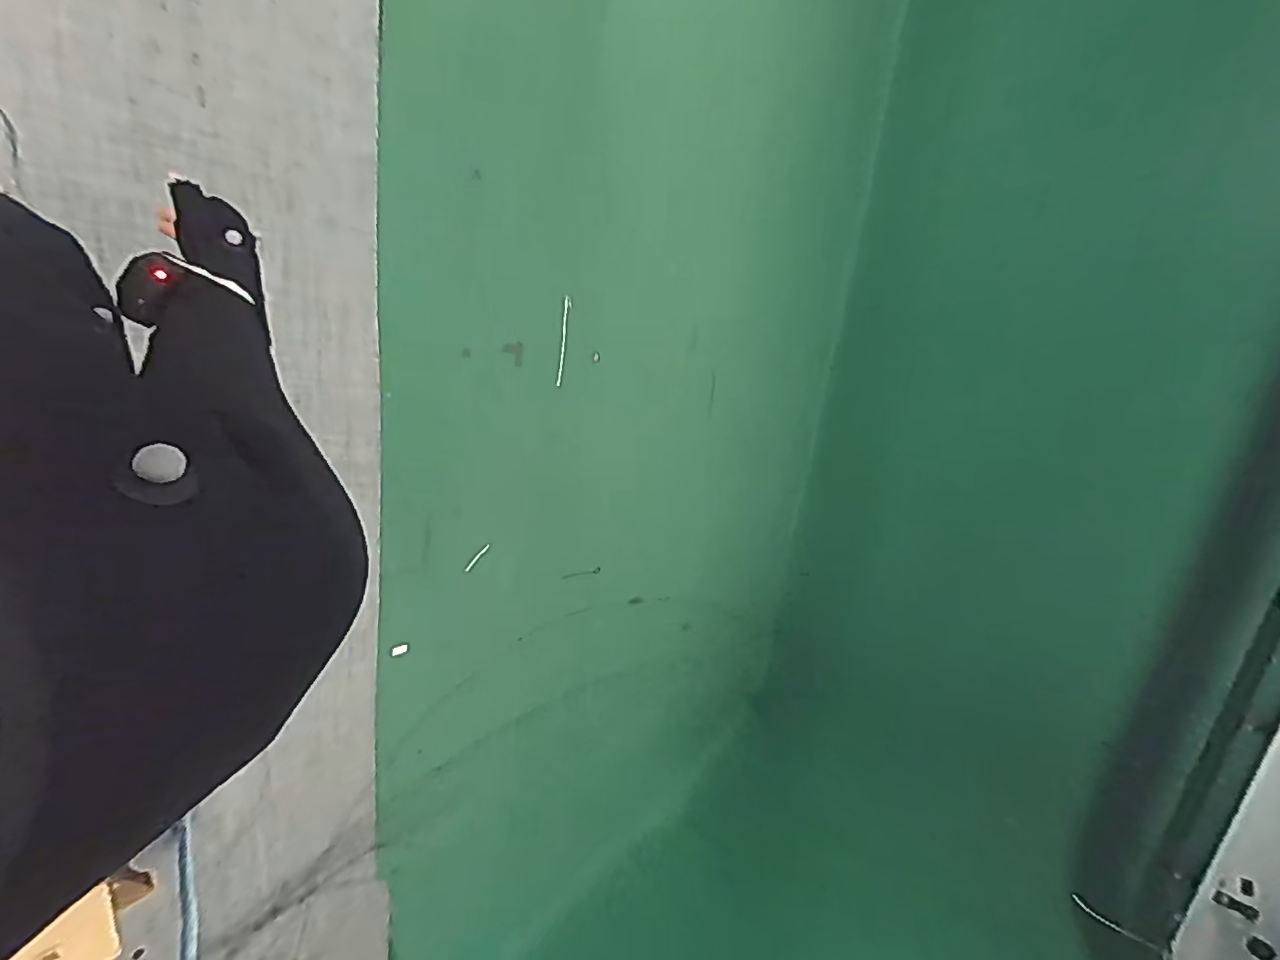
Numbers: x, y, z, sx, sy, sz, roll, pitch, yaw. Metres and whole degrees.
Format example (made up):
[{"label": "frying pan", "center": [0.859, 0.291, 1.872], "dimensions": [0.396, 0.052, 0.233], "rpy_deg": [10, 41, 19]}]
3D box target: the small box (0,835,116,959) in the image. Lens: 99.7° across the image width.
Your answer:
[{"label": "small box", "center": [-1.084, 0.805, 0.980], "dimensions": [0.168, 0.176, 0.179], "rpy_deg": [-12, 115, -48]}]
